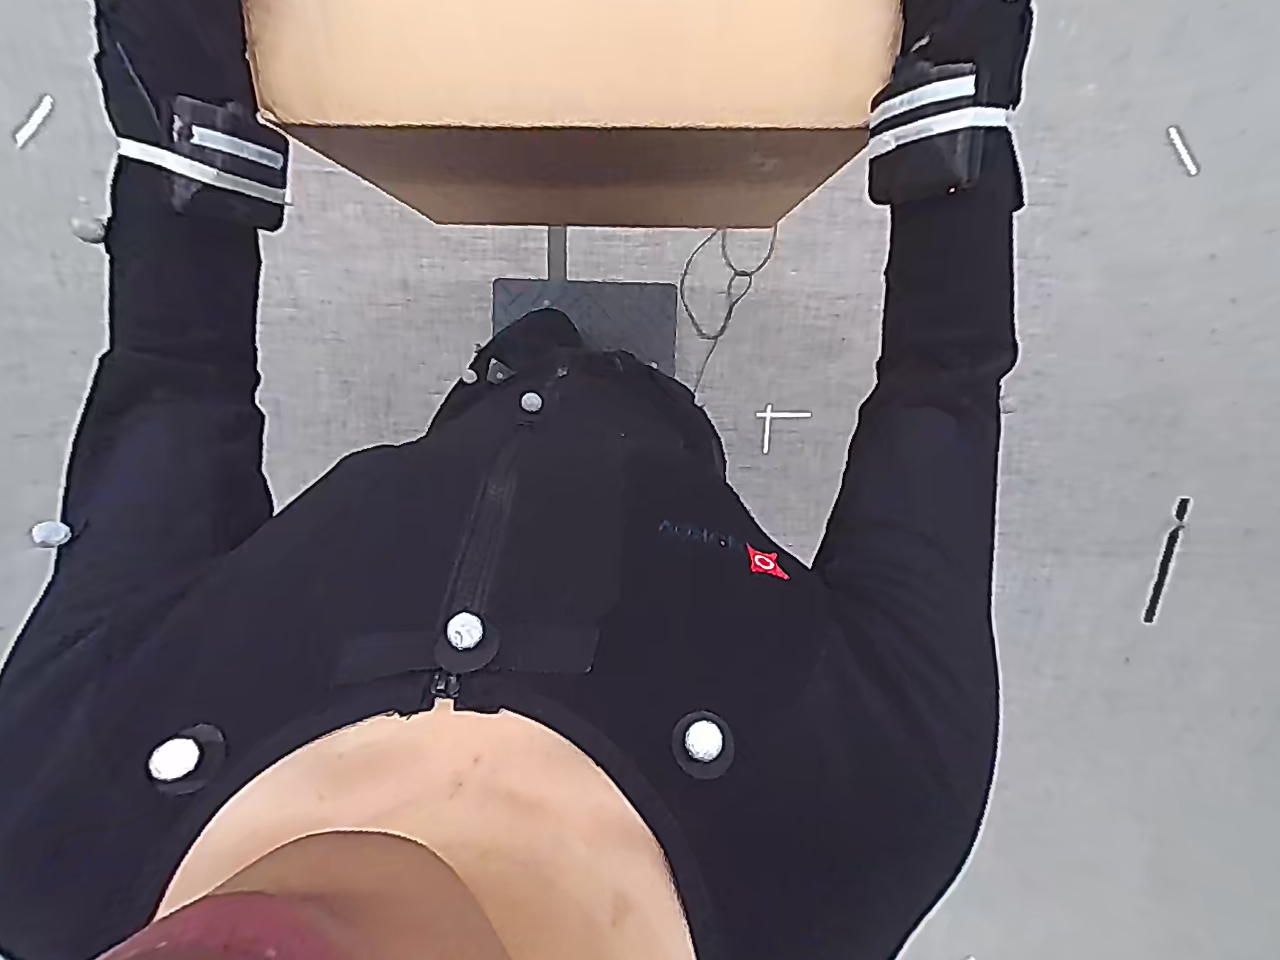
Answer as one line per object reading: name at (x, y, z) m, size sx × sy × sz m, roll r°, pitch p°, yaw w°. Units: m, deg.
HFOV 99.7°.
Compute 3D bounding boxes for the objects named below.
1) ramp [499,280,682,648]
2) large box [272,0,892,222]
ramp at (-0.140, -0.037, 1.477) m, size 0.509 × 0.206 × 0.991 m, roll 0°, pitch 103°, yaw 1°
large box at (-0.039, -0.426, 0.468) m, size 0.408 × 0.320 × 0.320 m, roll 0°, pitch 105°, yaw -1°
